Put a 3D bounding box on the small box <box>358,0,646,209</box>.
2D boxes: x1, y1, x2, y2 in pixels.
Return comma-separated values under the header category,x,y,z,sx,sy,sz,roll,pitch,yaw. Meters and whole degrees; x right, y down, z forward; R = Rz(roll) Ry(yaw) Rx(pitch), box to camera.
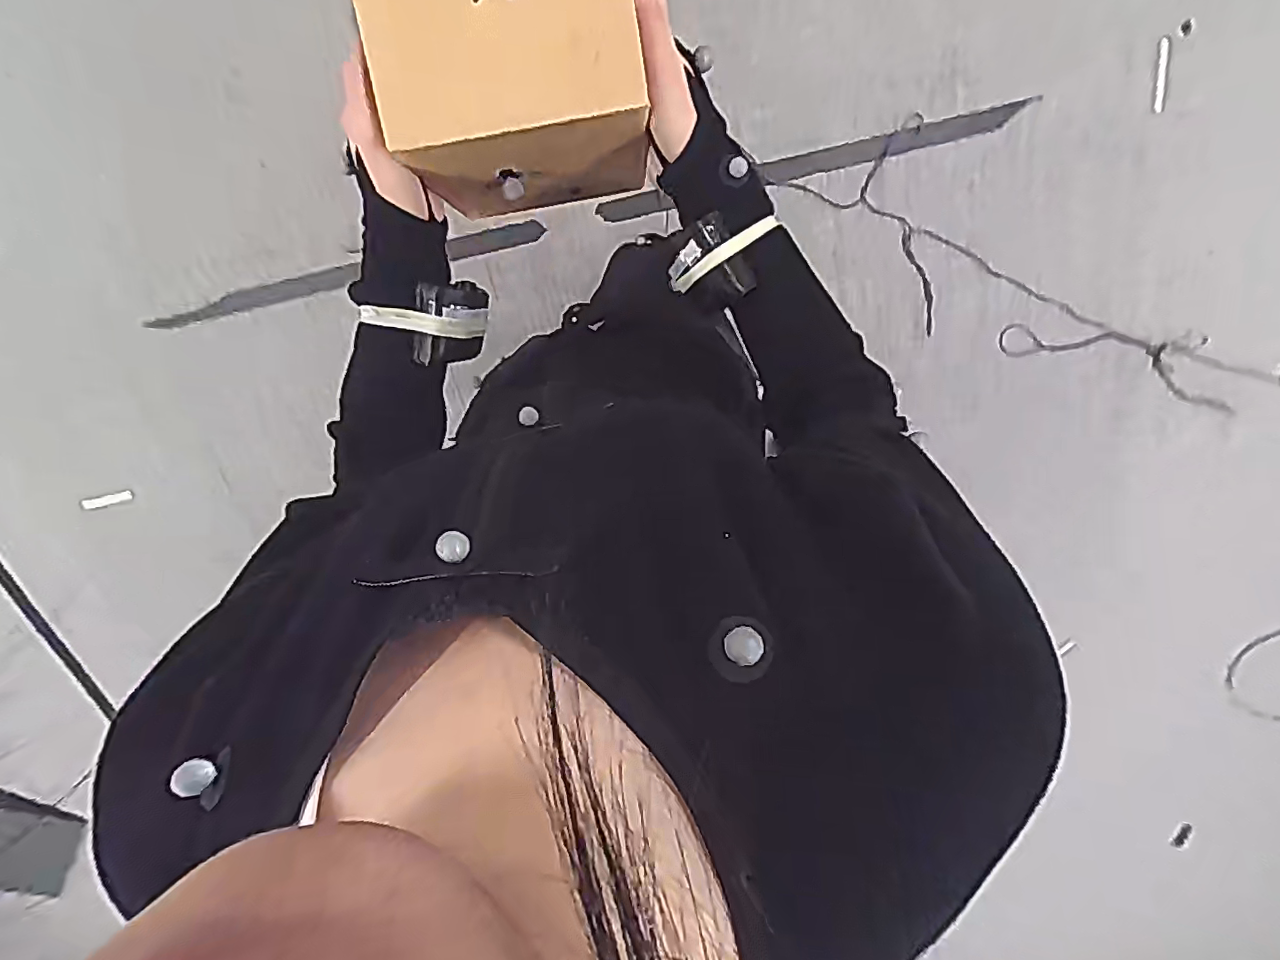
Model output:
category,x,y,z,sx,sy,sz,roll,pitch,yaw
small box,-0.086,-0.315,0.393,0.168,0.176,0.179,-9,101,1
